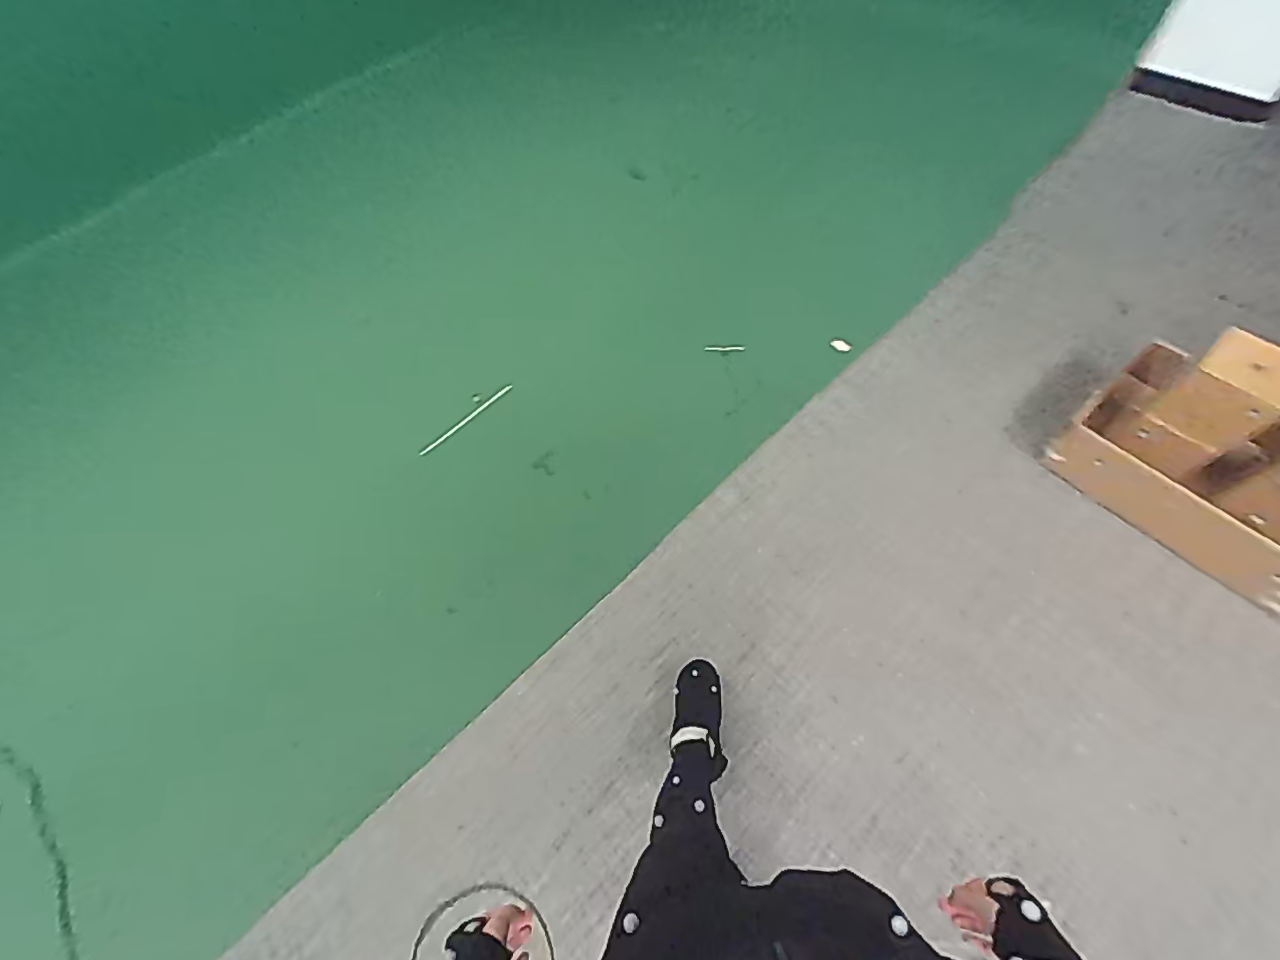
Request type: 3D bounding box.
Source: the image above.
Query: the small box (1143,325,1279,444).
[{"bbox_3d":[1.337,-0.215,1.249,0.168,0.176,0.179,-43,67,-14],"label":"small box"}]

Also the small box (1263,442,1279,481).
[{"bbox_3d":[1.508,-0.058,1.144,0.179,0.176,0.168,-40,64,-13],"label":"small box"}]
